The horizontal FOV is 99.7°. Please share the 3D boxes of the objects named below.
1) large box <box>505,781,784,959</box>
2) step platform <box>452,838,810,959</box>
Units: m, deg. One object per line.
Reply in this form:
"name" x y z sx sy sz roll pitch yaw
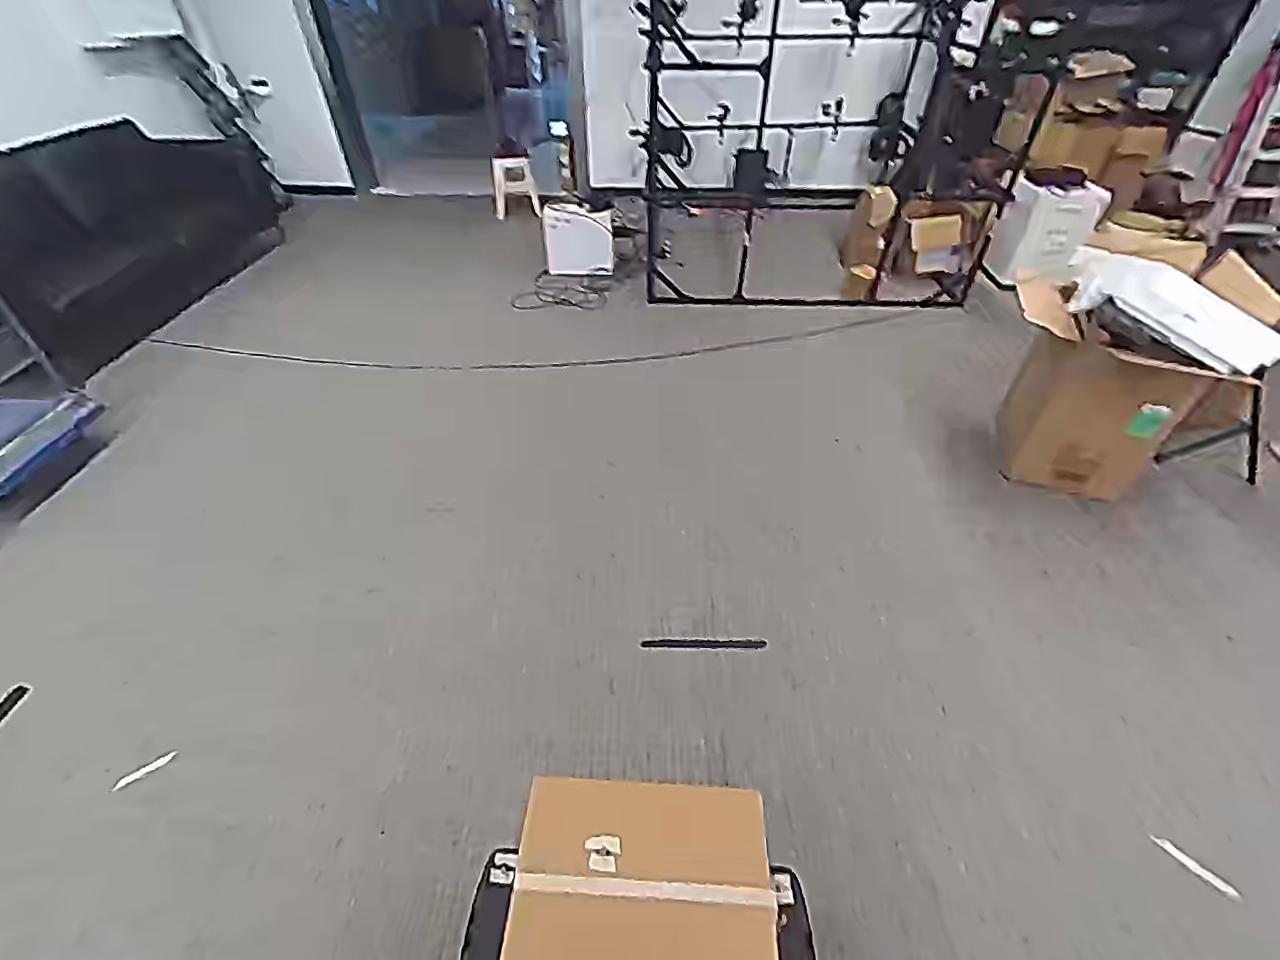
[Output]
"large box" 0.014 0.743 0.924 0.408 0.320 0.320 2 42 4
"step platform" -0.014 0.936 1.066 0.684 0.204 0.286 5 43 7
